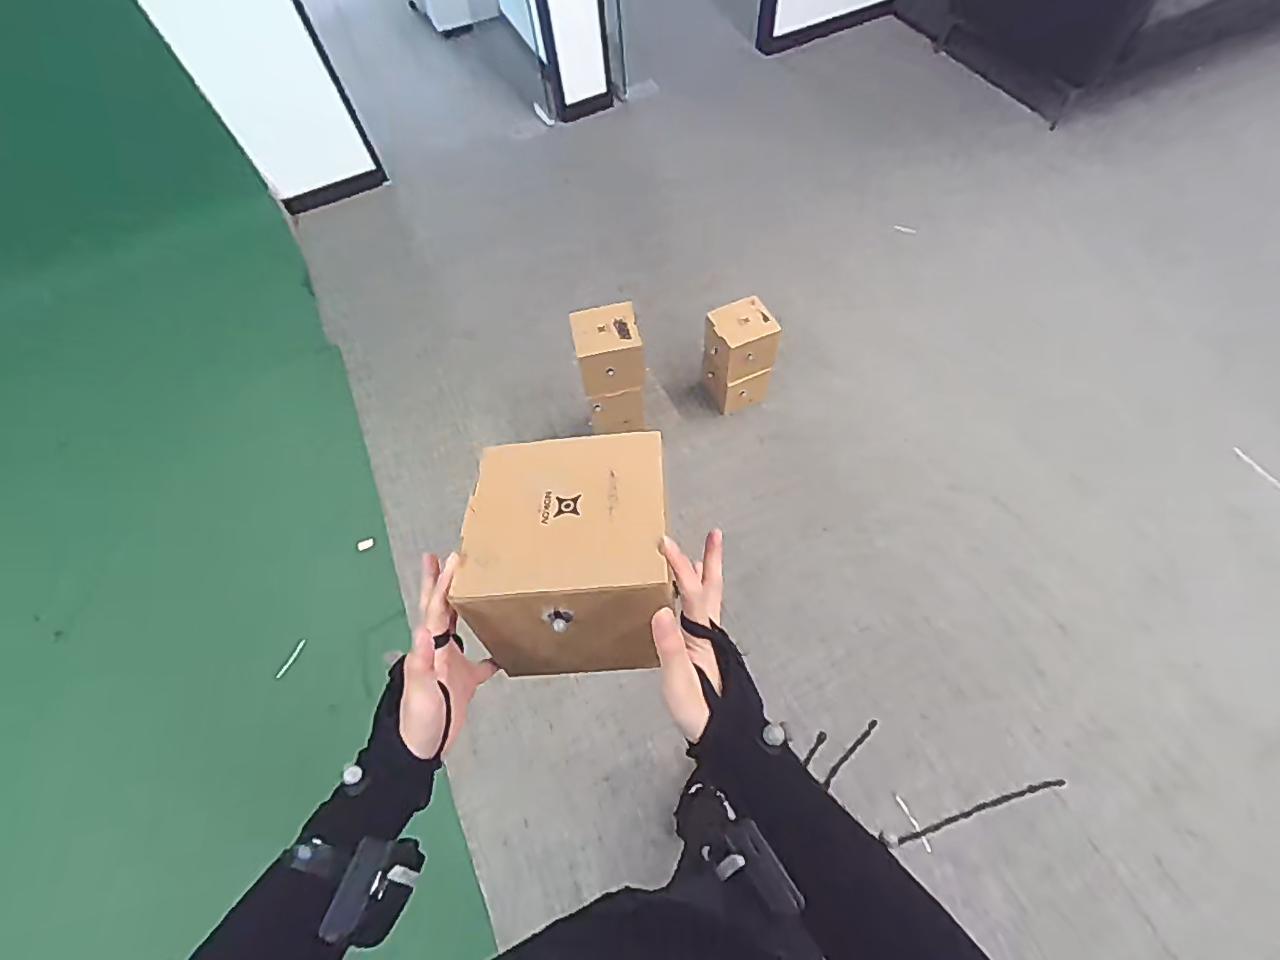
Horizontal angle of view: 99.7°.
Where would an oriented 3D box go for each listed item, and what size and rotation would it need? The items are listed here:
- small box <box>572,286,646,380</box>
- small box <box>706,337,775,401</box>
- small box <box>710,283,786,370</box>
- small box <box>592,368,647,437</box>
[{"bbox_3d":[-0.080,-0.396,1.471,0.179,0.176,0.168,-9,63,-1],"label":"small box"},{"bbox_3d":[0.332,-0.387,1.814,0.168,0.176,0.179,-22,64,-8],"label":"small box"},{"bbox_3d":[0.327,-0.466,1.670,0.179,0.176,0.168,-21,64,-6],"label":"small box"},{"bbox_3d":[-0.065,-0.250,1.765,0.168,0.176,0.179,-4,63,1],"label":"small box"}]
